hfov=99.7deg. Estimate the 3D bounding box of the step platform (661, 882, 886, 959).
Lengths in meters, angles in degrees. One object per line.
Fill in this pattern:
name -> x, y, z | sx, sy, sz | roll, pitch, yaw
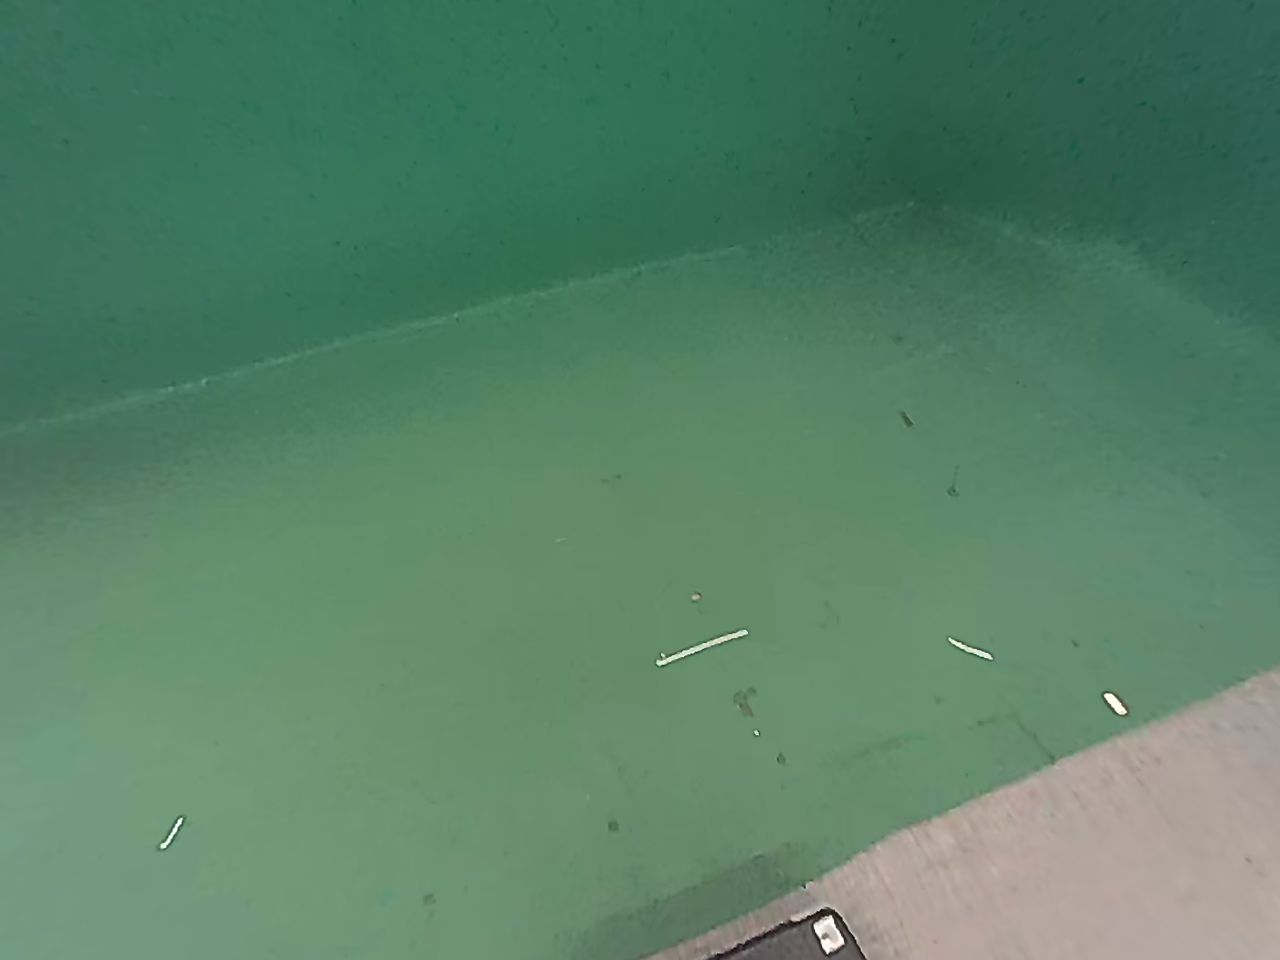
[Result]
step platform -> 0.125, 1.002, 0.950 | 0.684, 0.204, 0.286 | -18, 50, -9
